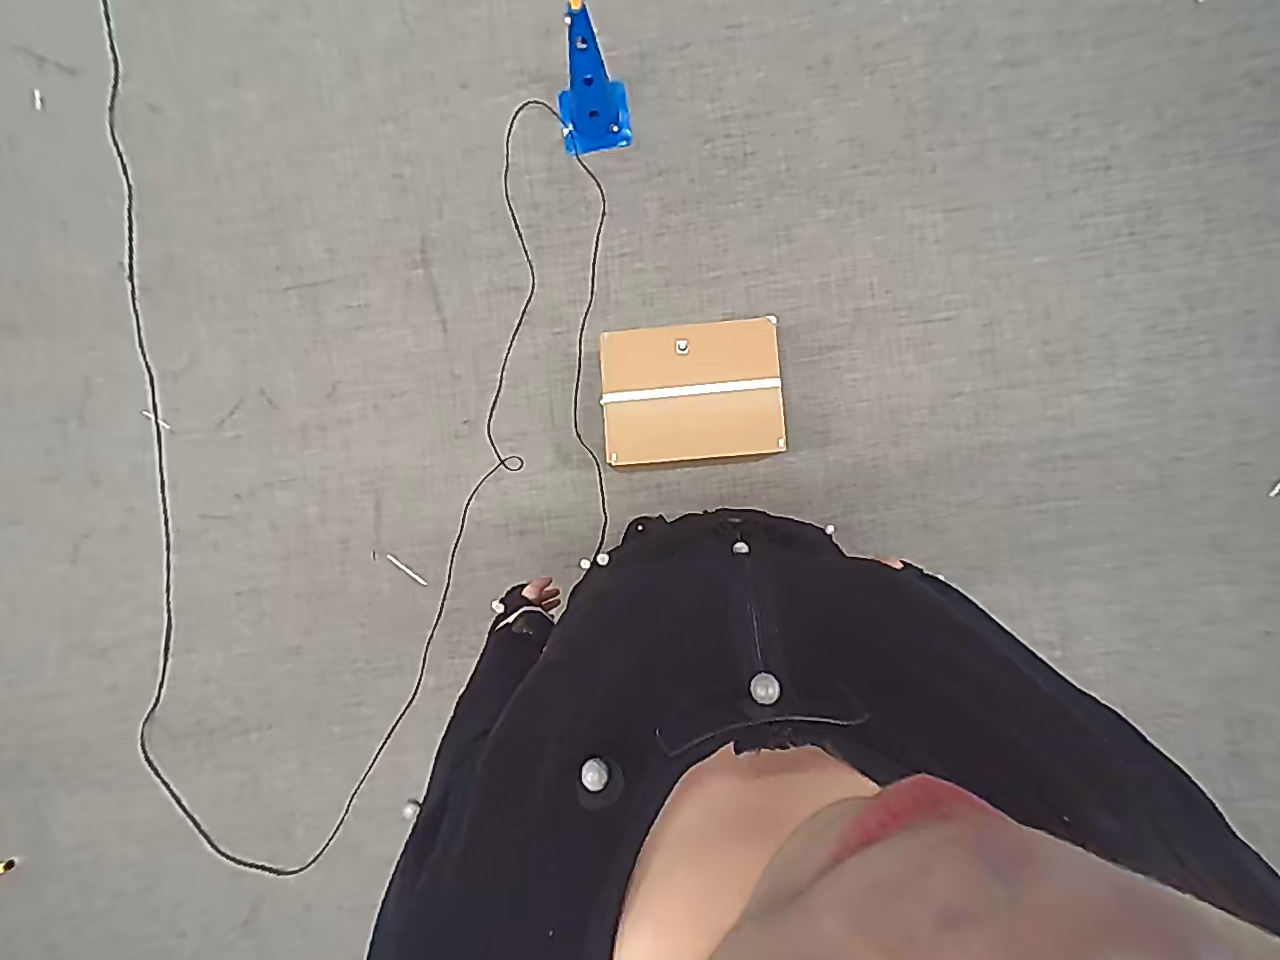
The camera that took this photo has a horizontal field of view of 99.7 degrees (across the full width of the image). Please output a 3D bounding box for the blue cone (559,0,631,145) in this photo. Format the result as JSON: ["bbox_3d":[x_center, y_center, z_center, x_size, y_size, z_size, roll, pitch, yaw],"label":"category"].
[{"bbox_3d":[-0.135,-1.078,1.392,0.193,0.380,0.192,-11,87,0],"label":"blue cone"}]
